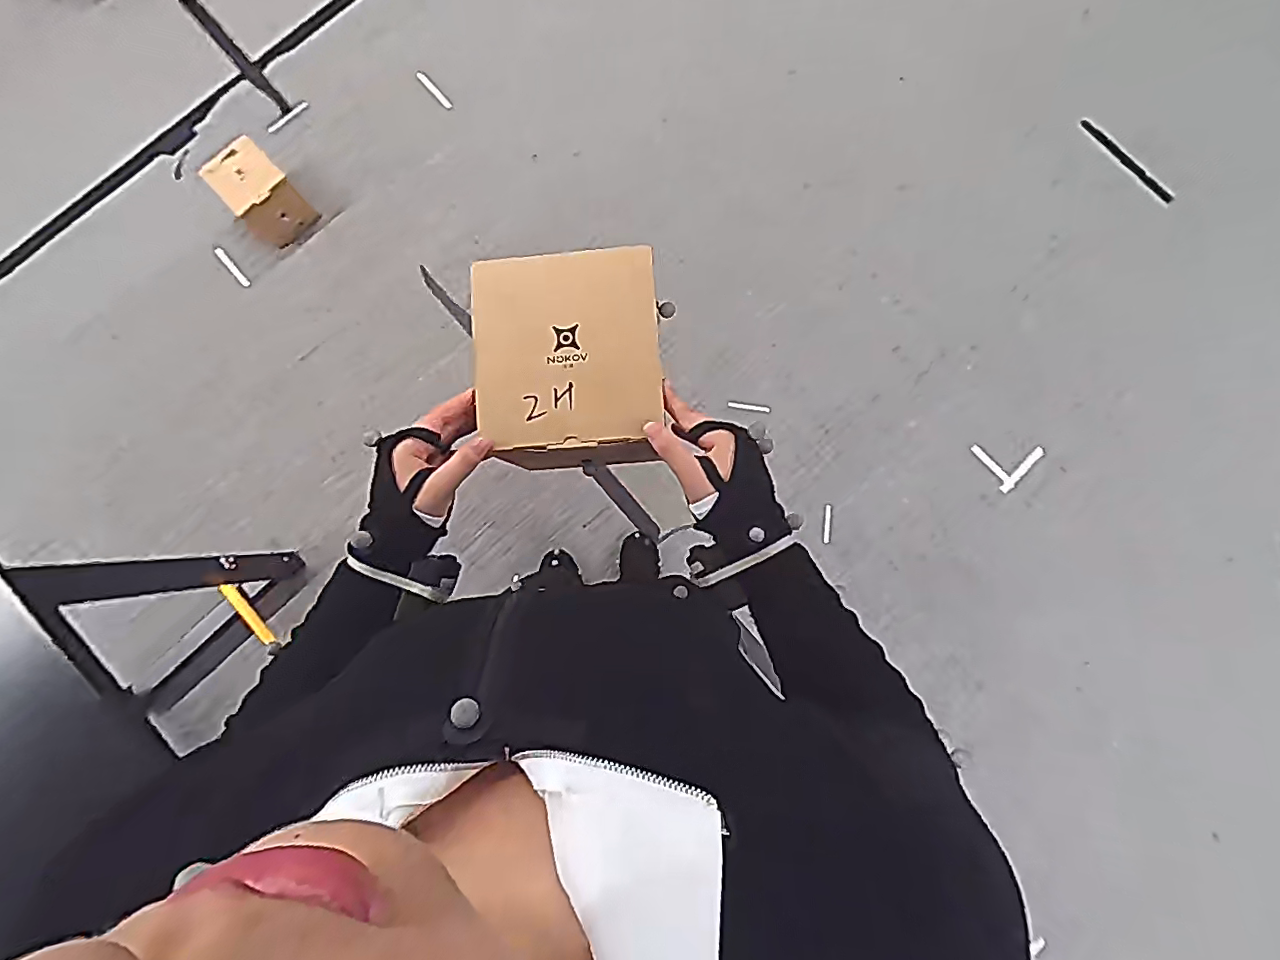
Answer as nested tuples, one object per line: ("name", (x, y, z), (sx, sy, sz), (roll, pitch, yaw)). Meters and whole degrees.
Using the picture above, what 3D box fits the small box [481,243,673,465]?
("small box", (-0.054, -0.114, 0.553), (0.168, 0.176, 0.179), (-4, 86, 3))

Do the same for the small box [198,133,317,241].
("small box", (-1.055, -0.802, 1.509), (0.168, 0.176, 0.179), (-43, 87, -4))
